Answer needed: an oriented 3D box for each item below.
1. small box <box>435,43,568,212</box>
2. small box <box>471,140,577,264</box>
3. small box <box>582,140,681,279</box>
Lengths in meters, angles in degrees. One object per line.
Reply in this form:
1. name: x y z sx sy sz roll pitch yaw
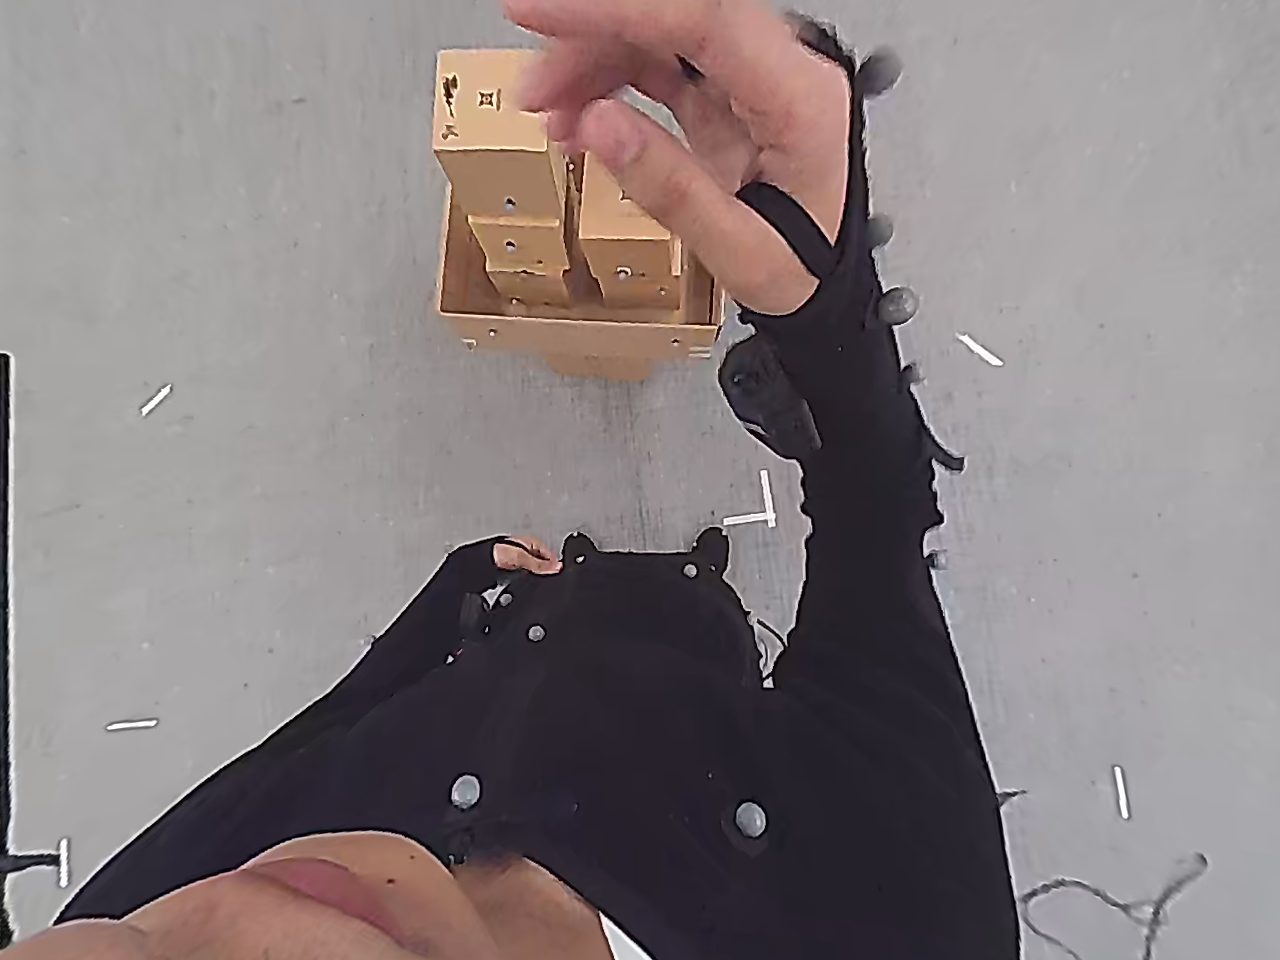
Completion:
1. small box: -0.215 -0.563 0.884 0.179 0.176 0.168 2 84 0
2. small box: -0.215 -0.539 1.046 0.168 0.176 0.179 3 85 0
3. small box: -0.010 -0.509 1.031 0.168 0.176 0.179 4 85 5
